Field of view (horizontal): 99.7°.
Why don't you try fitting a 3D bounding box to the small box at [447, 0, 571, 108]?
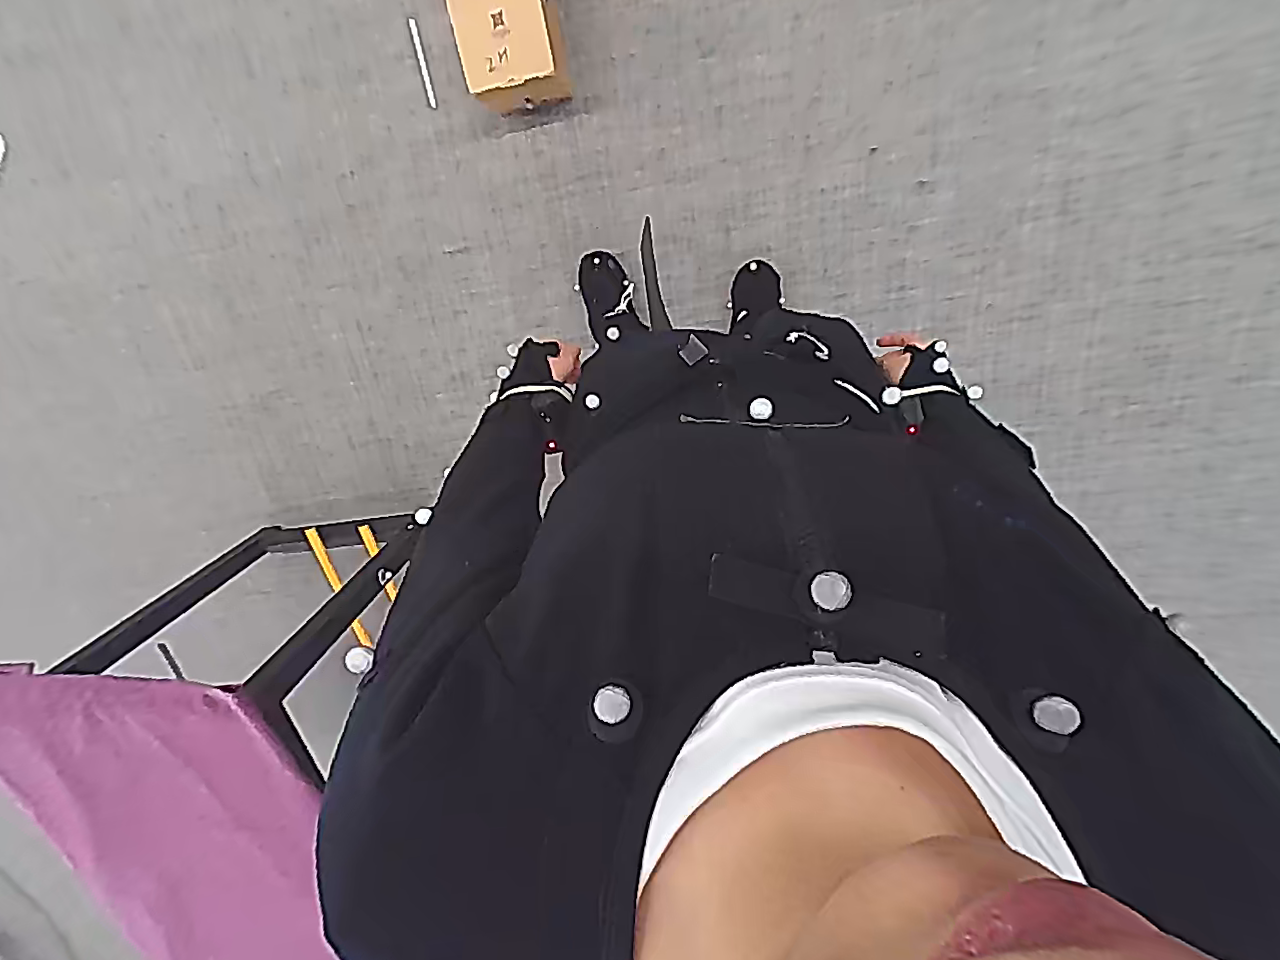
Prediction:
[{"bbox_3d":[-0.238,-0.825,1.002,0.168,0.176,0.179,-7,113,9],"label":"small box"}]
